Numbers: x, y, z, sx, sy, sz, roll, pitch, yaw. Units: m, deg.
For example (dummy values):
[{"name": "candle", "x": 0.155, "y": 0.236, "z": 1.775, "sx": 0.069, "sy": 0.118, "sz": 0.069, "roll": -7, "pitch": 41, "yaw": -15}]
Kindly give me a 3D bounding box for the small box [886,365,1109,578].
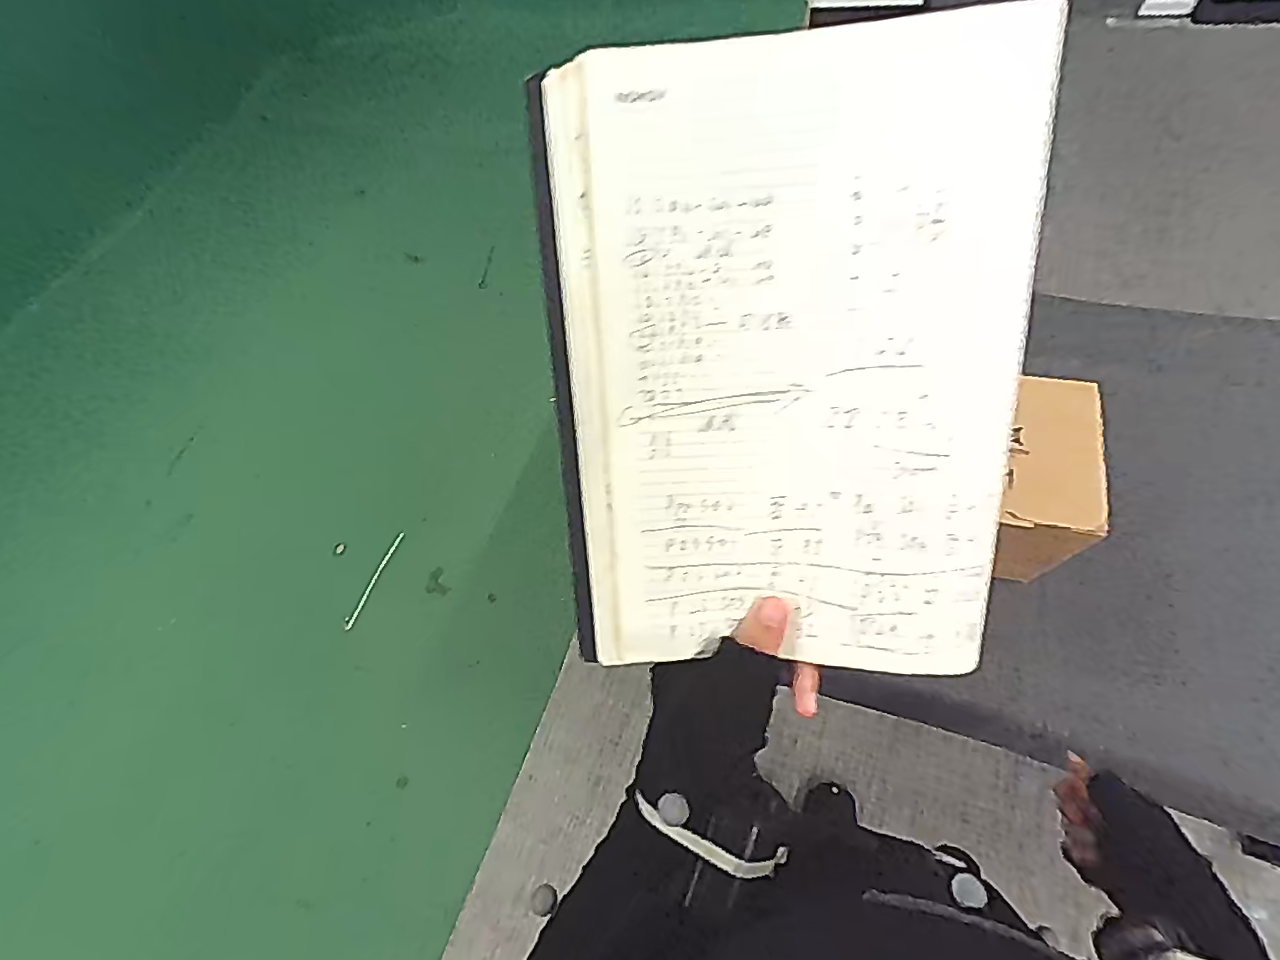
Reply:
[{"name": "small box", "x": 0.395, "y": -0.006, "z": 0.626, "sx": 0.168, "sy": 0.176, "sz": 0.179, "roll": 10, "pitch": 67, "yaw": 16}]
